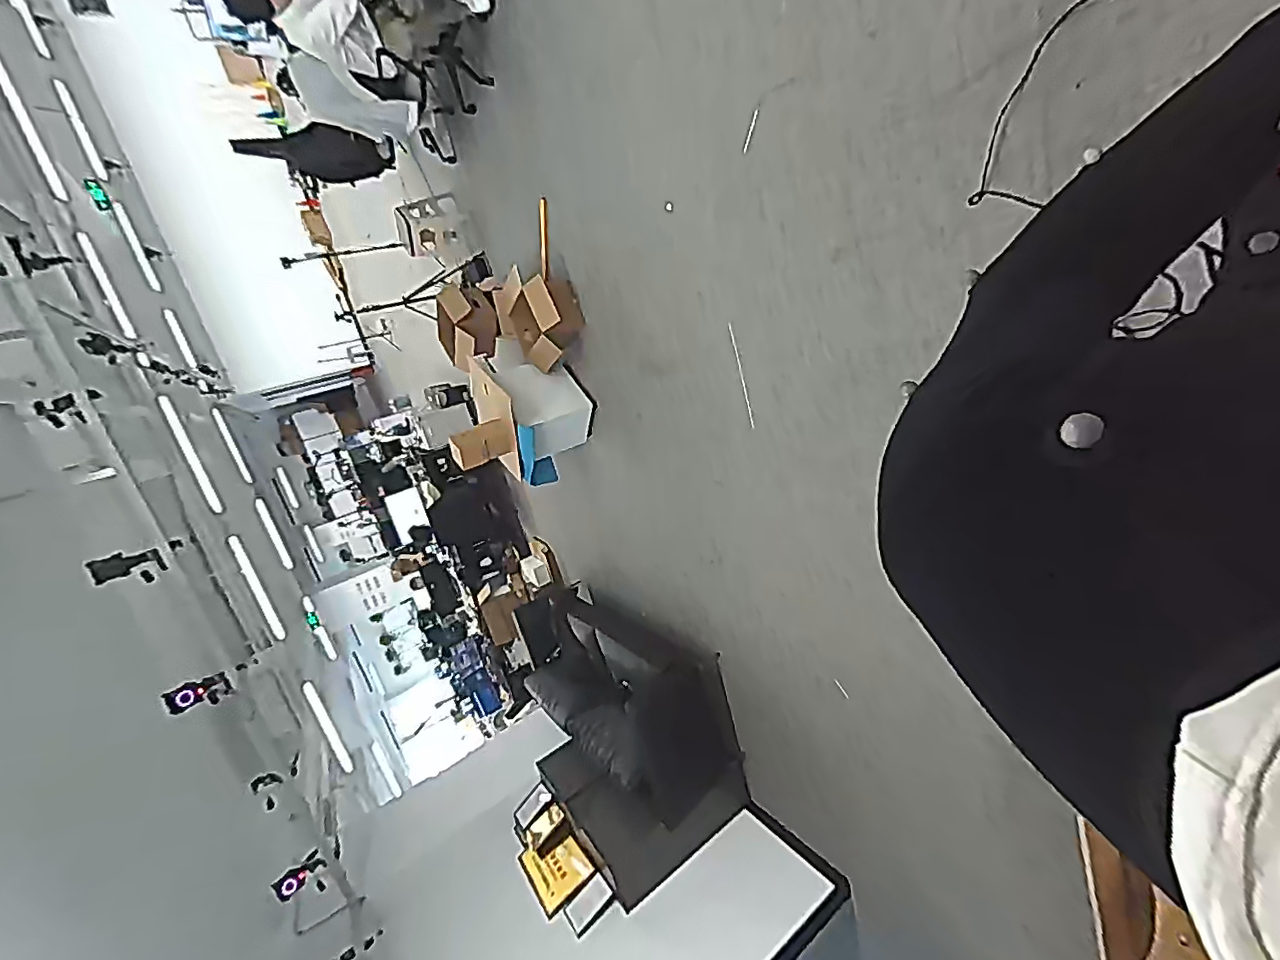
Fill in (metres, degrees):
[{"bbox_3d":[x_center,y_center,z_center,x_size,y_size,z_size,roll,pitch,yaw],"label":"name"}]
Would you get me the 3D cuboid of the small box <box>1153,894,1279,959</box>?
[{"bbox_3d":[1.208,1.021,1.115,0.179,0.176,0.168,4,115,59],"label":"small box"}]
